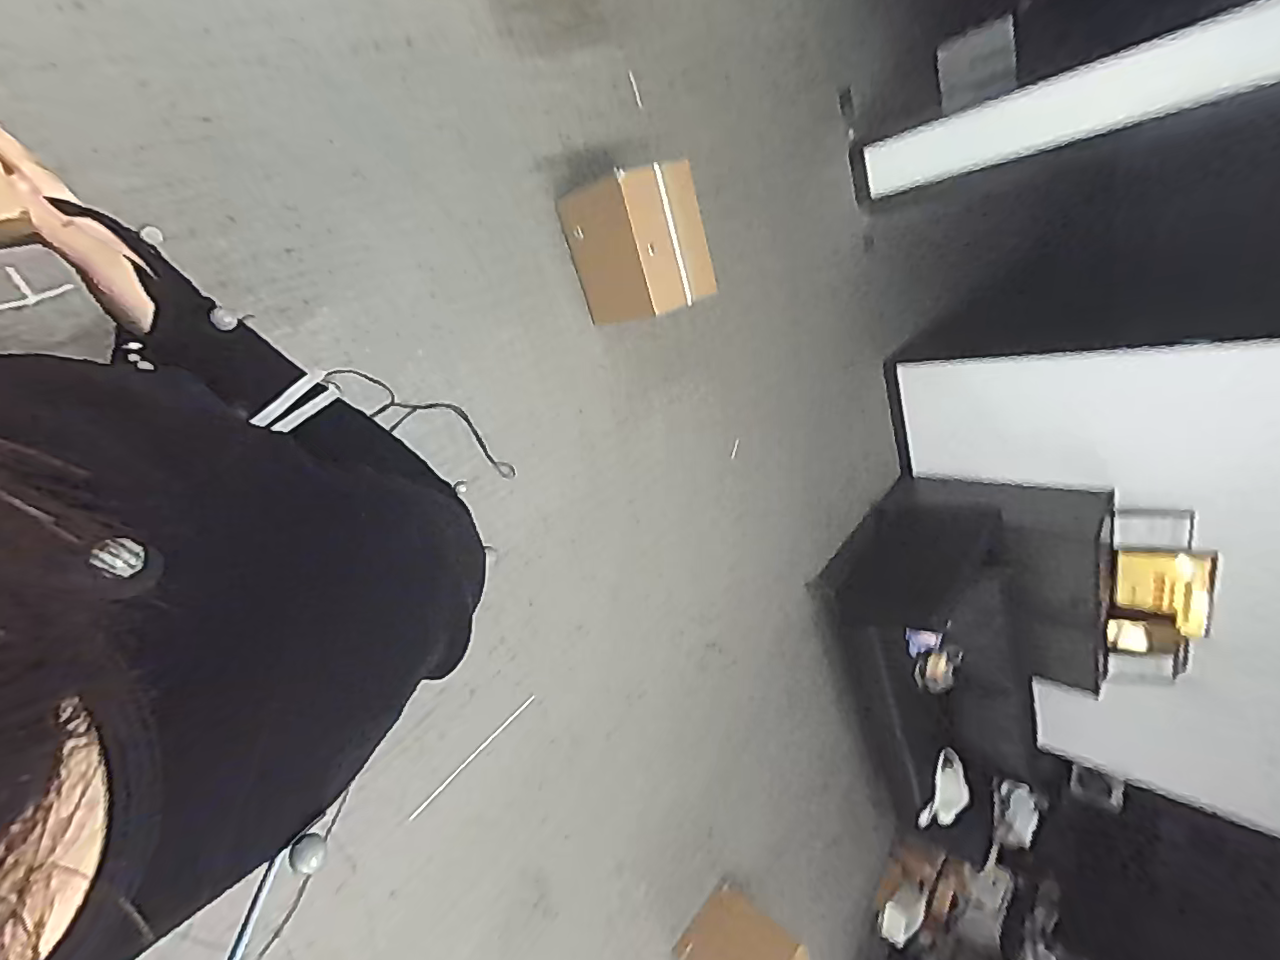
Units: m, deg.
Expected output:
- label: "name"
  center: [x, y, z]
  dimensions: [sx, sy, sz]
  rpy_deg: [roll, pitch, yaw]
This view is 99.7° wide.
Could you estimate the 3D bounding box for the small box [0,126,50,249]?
- label: "small box"
  center: [-0.427, -0.184, 0.239]
  dimensions: [0.179, 0.176, 0.168]
  rpy_deg: [-32, 124, -36]
